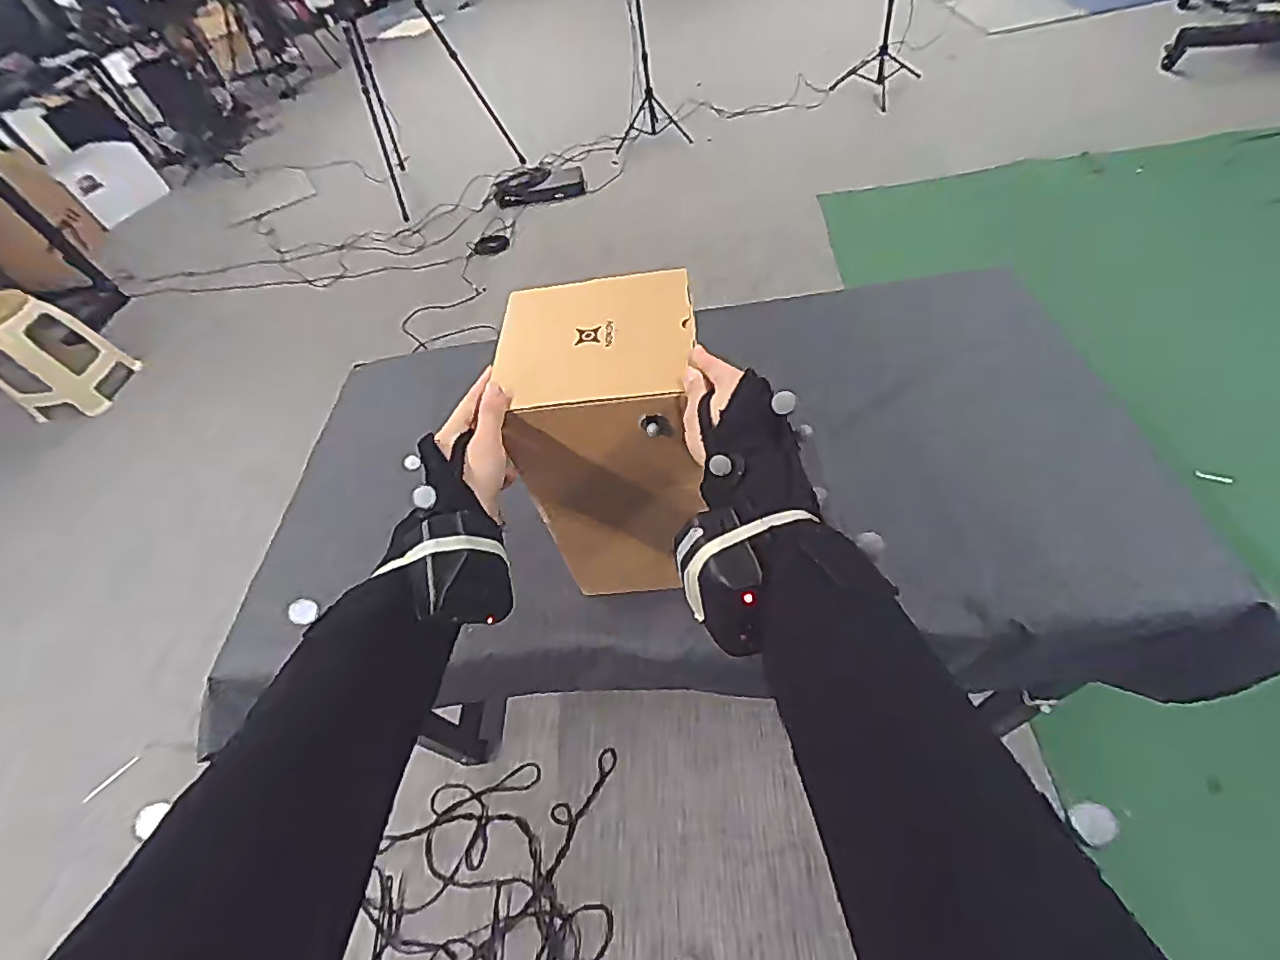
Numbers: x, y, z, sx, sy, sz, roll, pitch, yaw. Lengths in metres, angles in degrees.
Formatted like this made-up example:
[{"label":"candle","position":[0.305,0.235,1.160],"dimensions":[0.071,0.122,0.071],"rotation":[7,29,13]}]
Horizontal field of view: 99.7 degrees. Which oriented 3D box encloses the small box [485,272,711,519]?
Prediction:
[{"label":"small box","position":[-0.027,-0.074,0.530],"dimensions":[0.179,0.176,0.168],"rotation":[-6,52,6]}]
